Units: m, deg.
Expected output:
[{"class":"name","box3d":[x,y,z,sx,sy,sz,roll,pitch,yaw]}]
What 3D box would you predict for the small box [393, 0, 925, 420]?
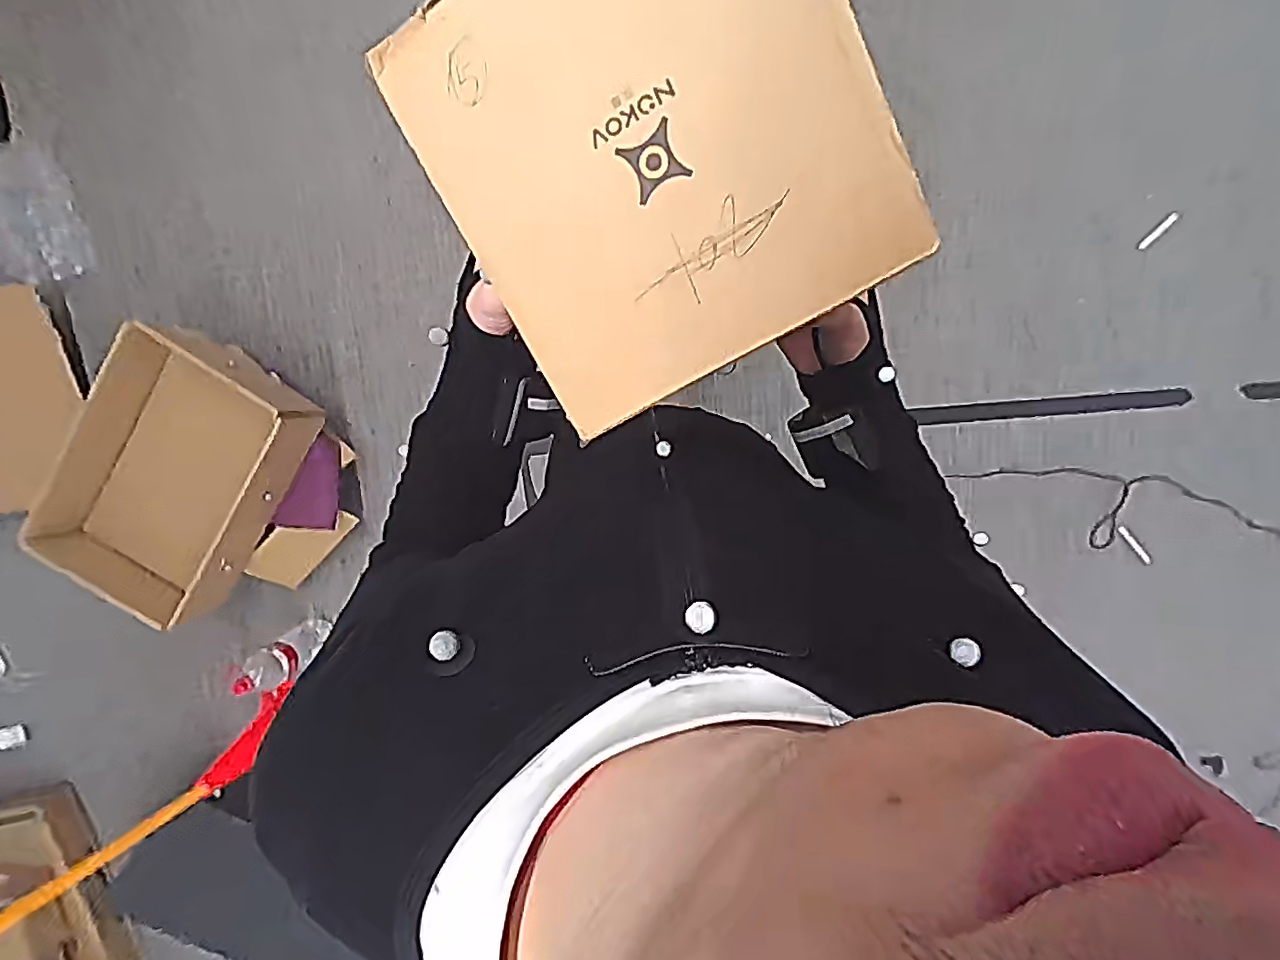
[{"class":"small box","box3d":[0.016,-0.157,0.297,0.168,0.176,0.179,-26,103,15]}]
